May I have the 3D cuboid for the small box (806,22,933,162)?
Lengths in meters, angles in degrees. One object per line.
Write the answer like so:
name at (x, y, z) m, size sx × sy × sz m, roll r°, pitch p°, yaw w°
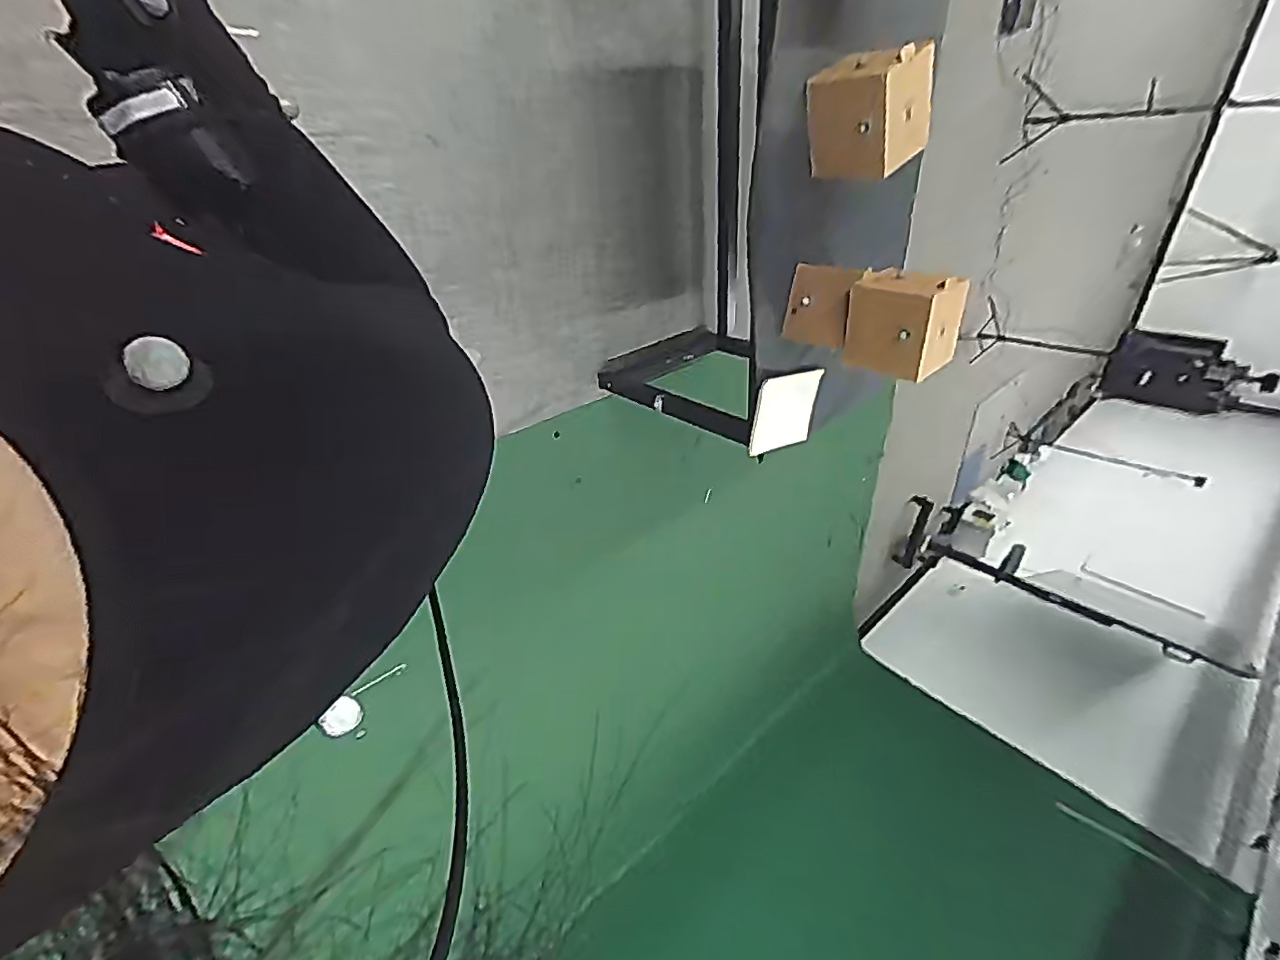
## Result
small box at (0.443, -0.745, 1.055) m, size 0.168 × 0.176 × 0.179 m, roll -41°, pitch 135°, yaw -20°

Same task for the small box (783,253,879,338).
small box at (0.458, -0.421, 1.238) m, size 0.179 × 0.176 × 0.168 m, roll -12°, pitch 118°, yaw -40°

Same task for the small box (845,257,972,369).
small box at (0.546, -0.351, 1.117) m, size 0.168 × 0.176 × 0.179 m, roll -29°, pitch 128°, yaw -31°
